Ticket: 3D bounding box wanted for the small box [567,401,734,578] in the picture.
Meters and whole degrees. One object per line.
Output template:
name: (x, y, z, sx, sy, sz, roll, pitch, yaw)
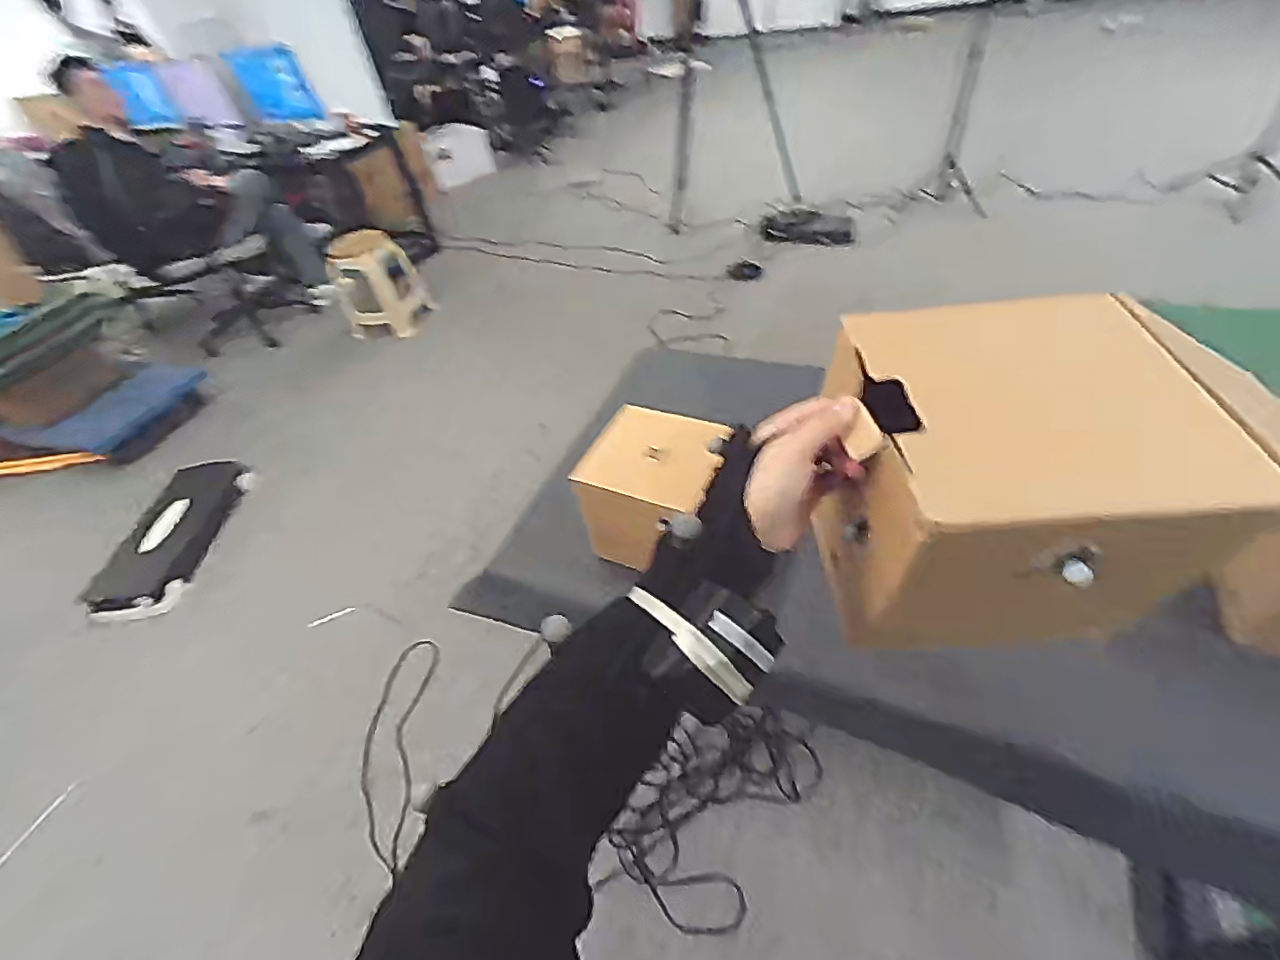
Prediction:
small box: (0.025, 0.014, 0.772, 0.179, 0.176, 0.168, 15, 51, 23)
